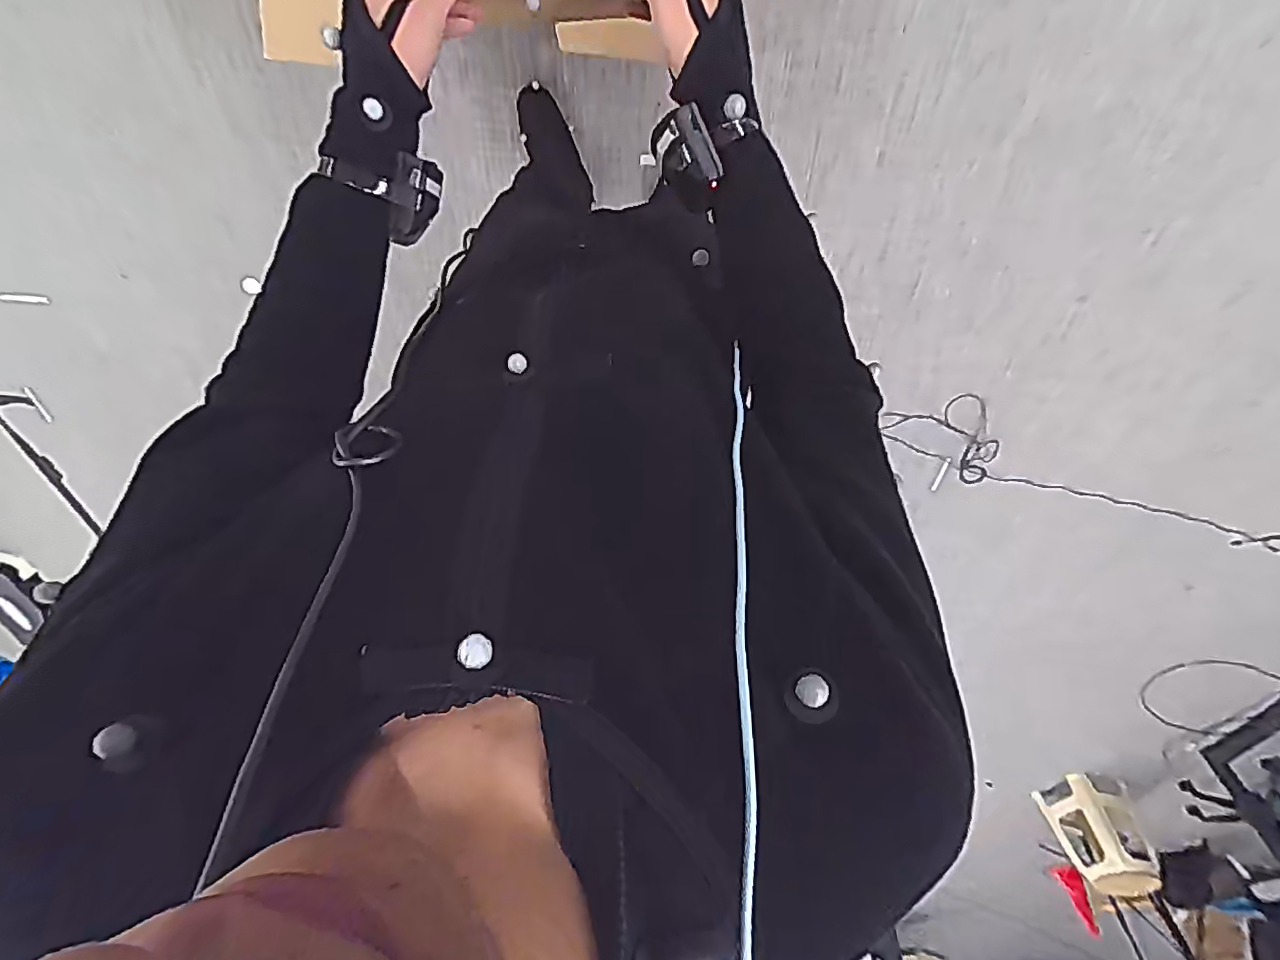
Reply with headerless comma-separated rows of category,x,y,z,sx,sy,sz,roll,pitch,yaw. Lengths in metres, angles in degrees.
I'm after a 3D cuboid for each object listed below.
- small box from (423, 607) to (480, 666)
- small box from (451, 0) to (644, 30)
small box,-0.779,0.648,2.247,0.168,0.176,0.179,5,130,2
small box,-0.083,-0.478,0.424,0.179,0.176,0.168,-5,121,-1
